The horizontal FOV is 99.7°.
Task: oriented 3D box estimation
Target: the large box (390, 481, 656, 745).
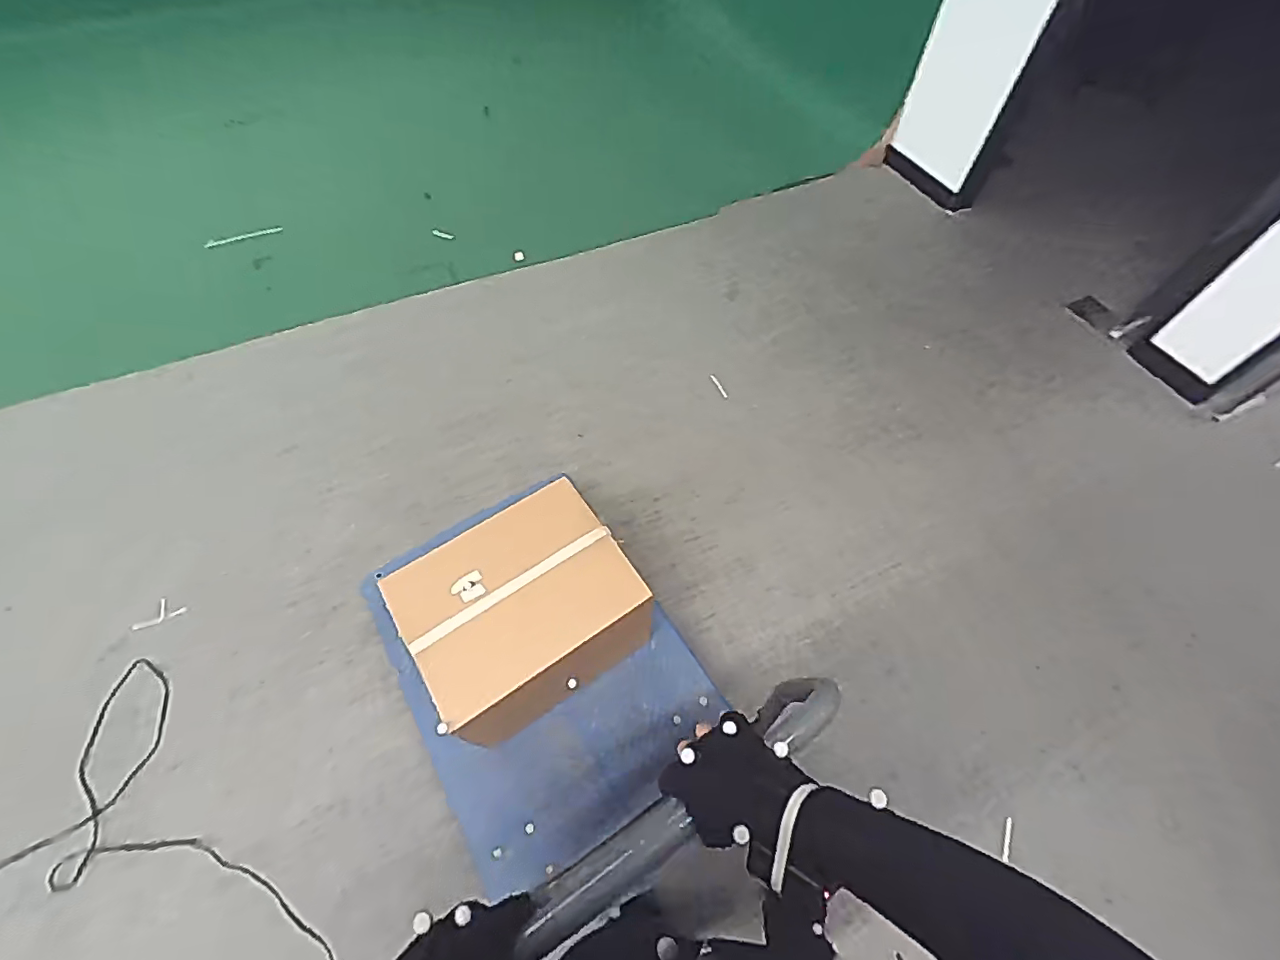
[{"bbox_3d":[-0.216,0.281,1.123,0.408,0.320,0.320,-32,64,-17],"label":"large box"}]
